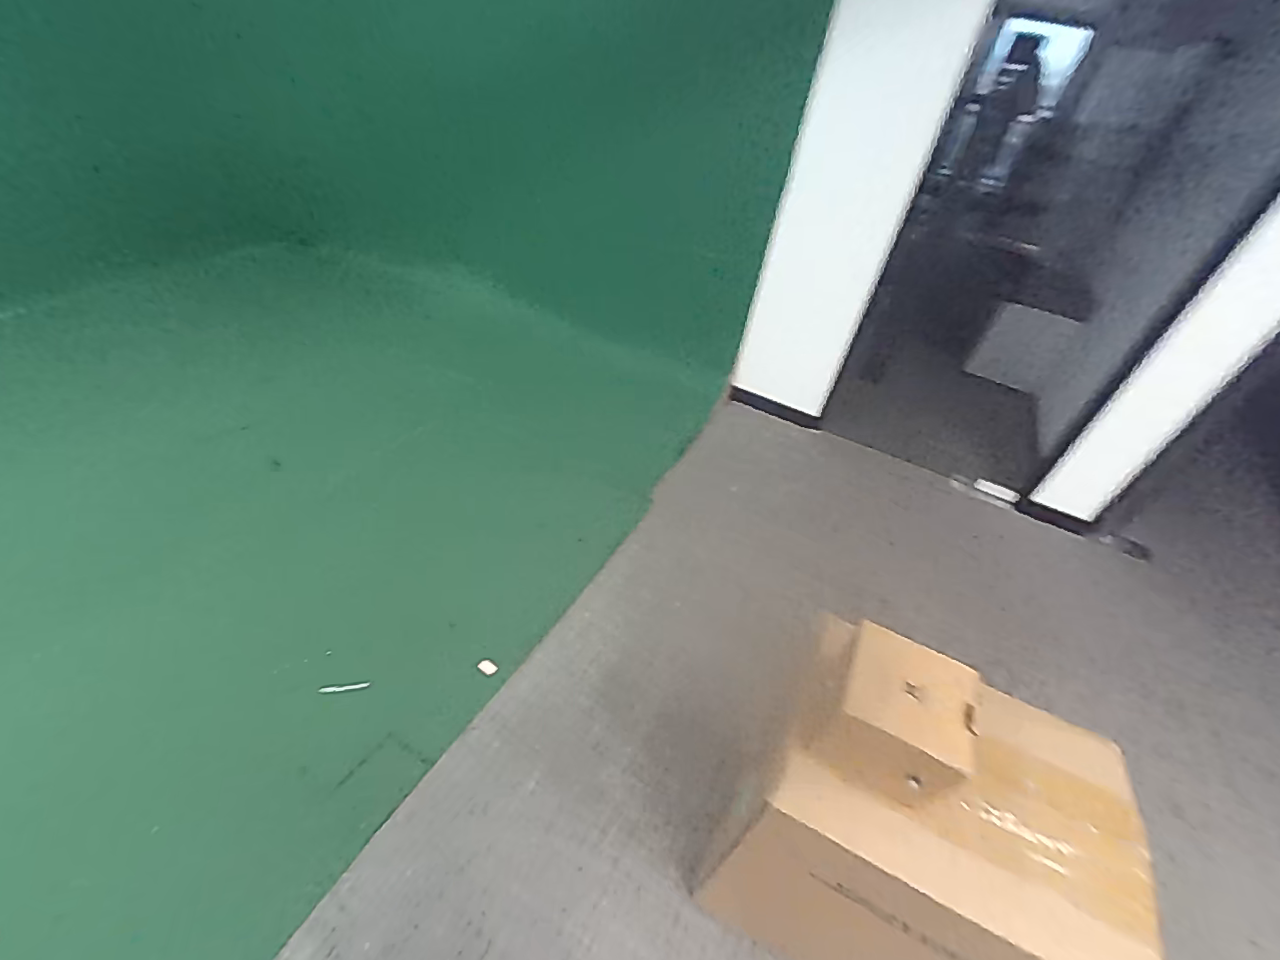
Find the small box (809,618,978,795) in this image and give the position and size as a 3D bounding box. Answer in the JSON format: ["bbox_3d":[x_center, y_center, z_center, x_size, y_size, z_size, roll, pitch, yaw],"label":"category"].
[{"bbox_3d":[0.384,0.353,0.831,0.179,0.176,0.168,22,47,16],"label":"small box"}]
